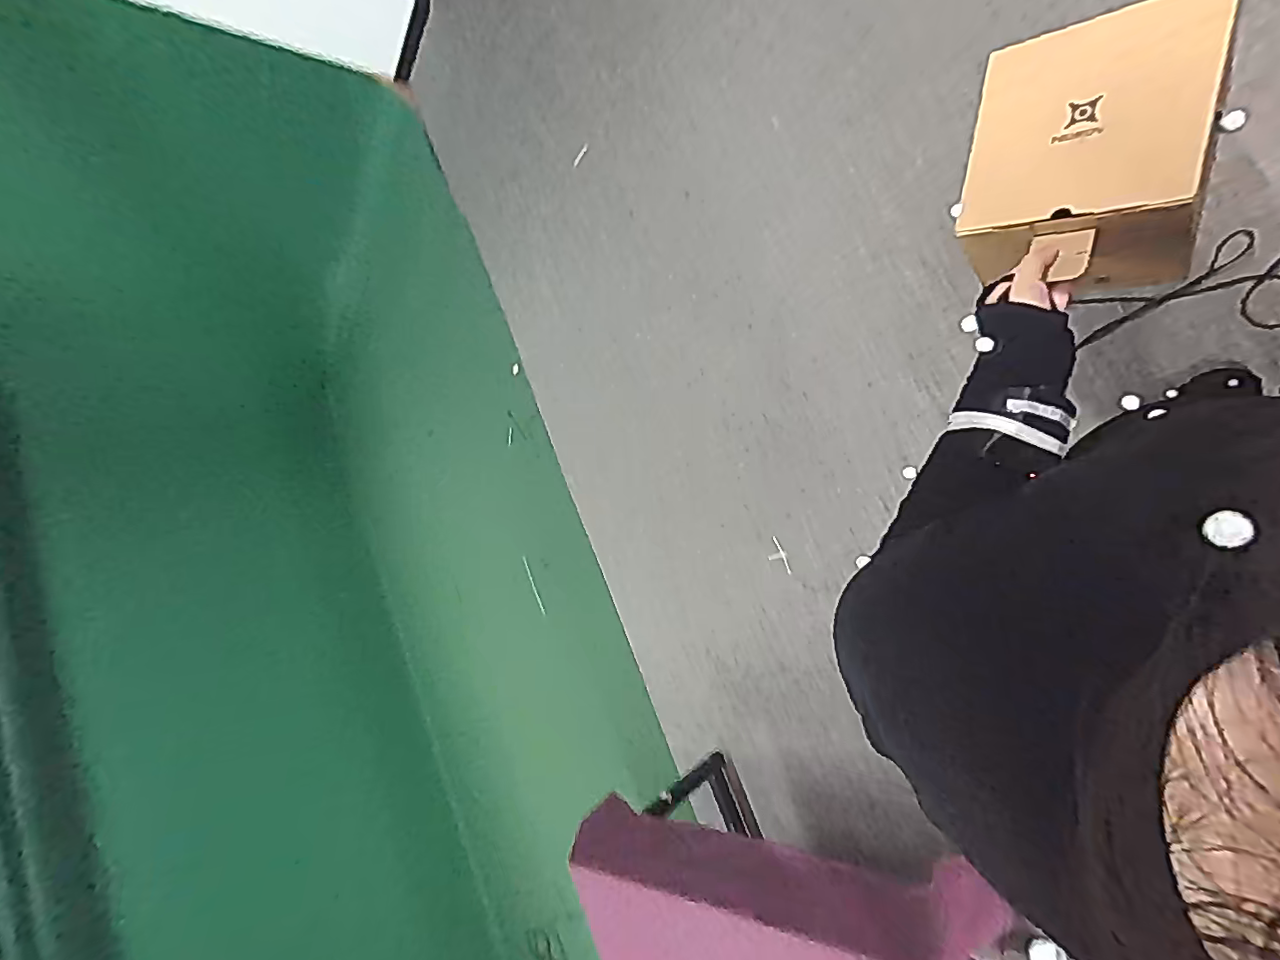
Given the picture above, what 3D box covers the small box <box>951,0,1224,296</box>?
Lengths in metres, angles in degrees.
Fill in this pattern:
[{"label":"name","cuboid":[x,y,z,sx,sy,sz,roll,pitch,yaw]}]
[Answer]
[{"label":"small box","cuboid":[0.431,-0.301,0.533,0.168,0.176,0.179,11,92,43]}]
